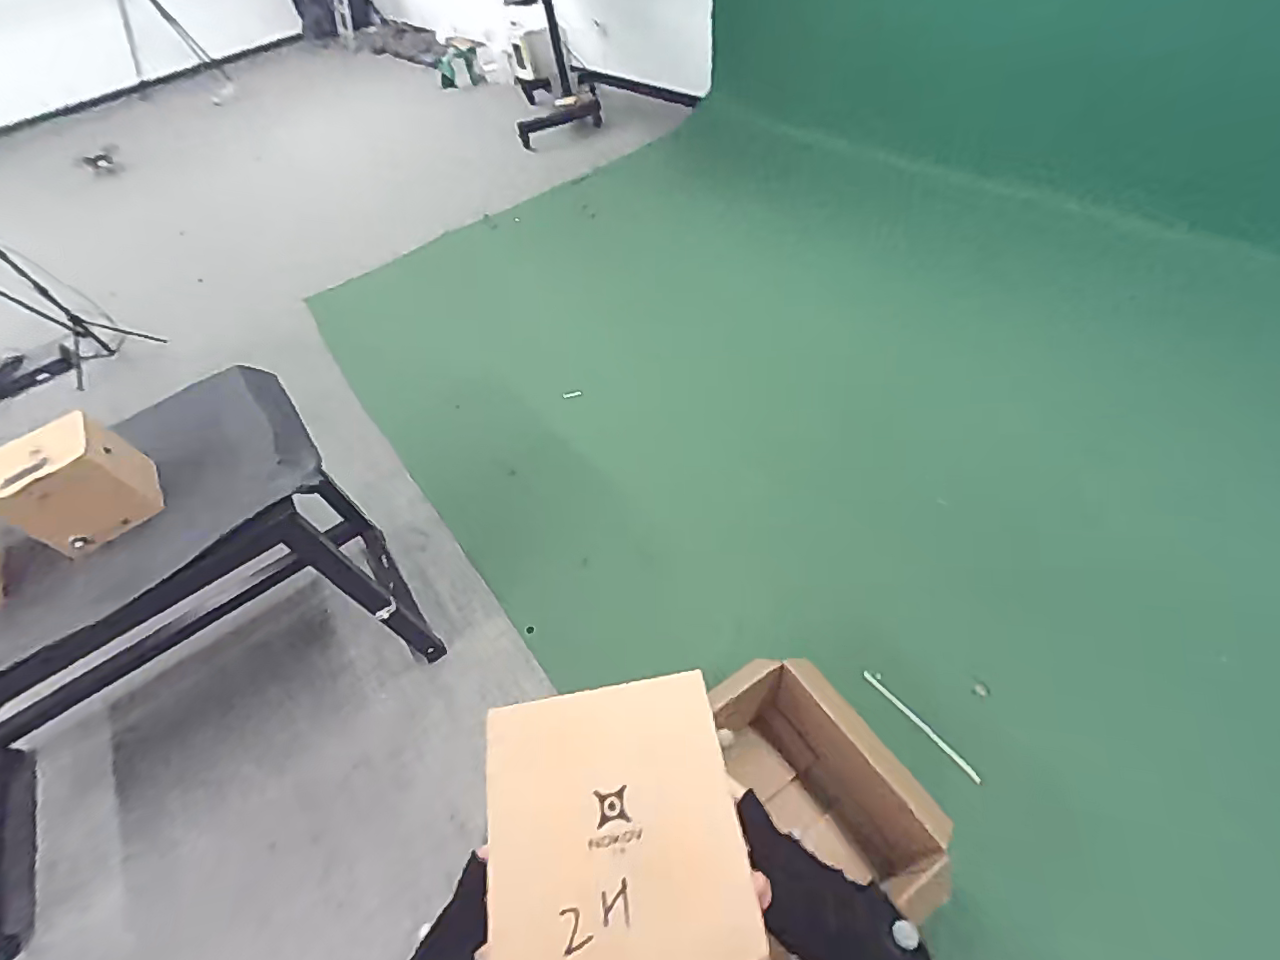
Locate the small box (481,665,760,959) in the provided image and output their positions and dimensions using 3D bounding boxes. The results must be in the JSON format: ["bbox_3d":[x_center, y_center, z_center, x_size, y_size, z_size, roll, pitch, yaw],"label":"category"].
[{"bbox_3d":[-0.021,0.270,0.423,0.168,0.176,0.179,-9,53,-5],"label":"small box"}]

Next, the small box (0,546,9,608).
[{"bbox_3d":[-1.265,0.170,0.934,0.168,0.176,0.179,-35,55,-18],"label":"small box"}]

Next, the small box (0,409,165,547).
[{"bbox_3d":[-1.055,0.004,1.027,0.168,0.176,0.179,-36,53,-18],"label":"small box"}]
